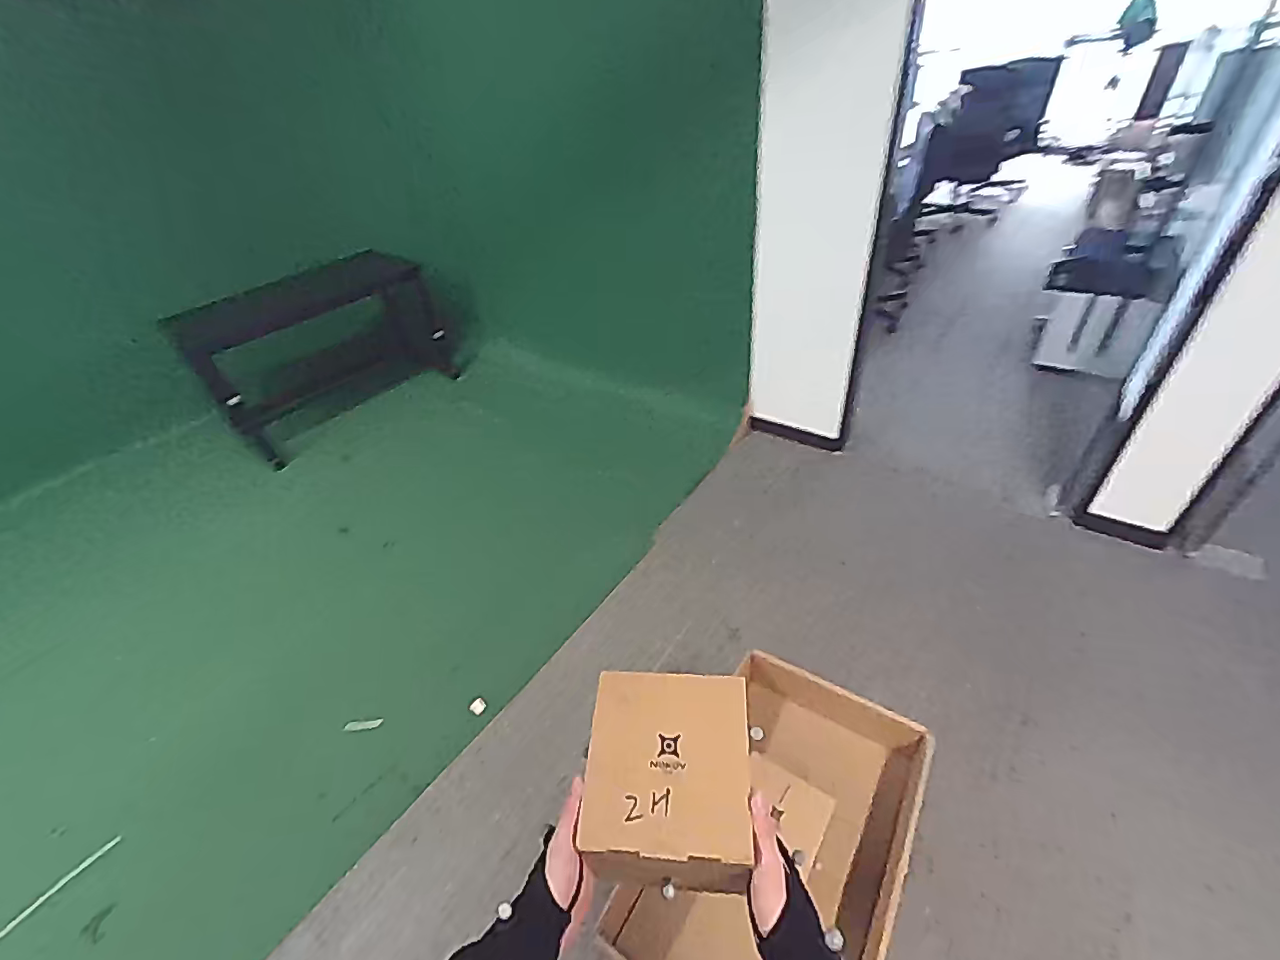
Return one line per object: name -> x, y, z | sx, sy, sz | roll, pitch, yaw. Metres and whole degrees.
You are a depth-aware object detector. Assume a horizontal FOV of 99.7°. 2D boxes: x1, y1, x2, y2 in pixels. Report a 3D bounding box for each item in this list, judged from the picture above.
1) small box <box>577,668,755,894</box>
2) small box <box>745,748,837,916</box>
small box -> 0.035, 0.332, 0.602 | 0.168, 0.176, 0.179 | -1, 45, 7
small box -> 0.242, 0.644, 0.991 | 0.168, 0.176, 0.179 | 20, 46, 29
